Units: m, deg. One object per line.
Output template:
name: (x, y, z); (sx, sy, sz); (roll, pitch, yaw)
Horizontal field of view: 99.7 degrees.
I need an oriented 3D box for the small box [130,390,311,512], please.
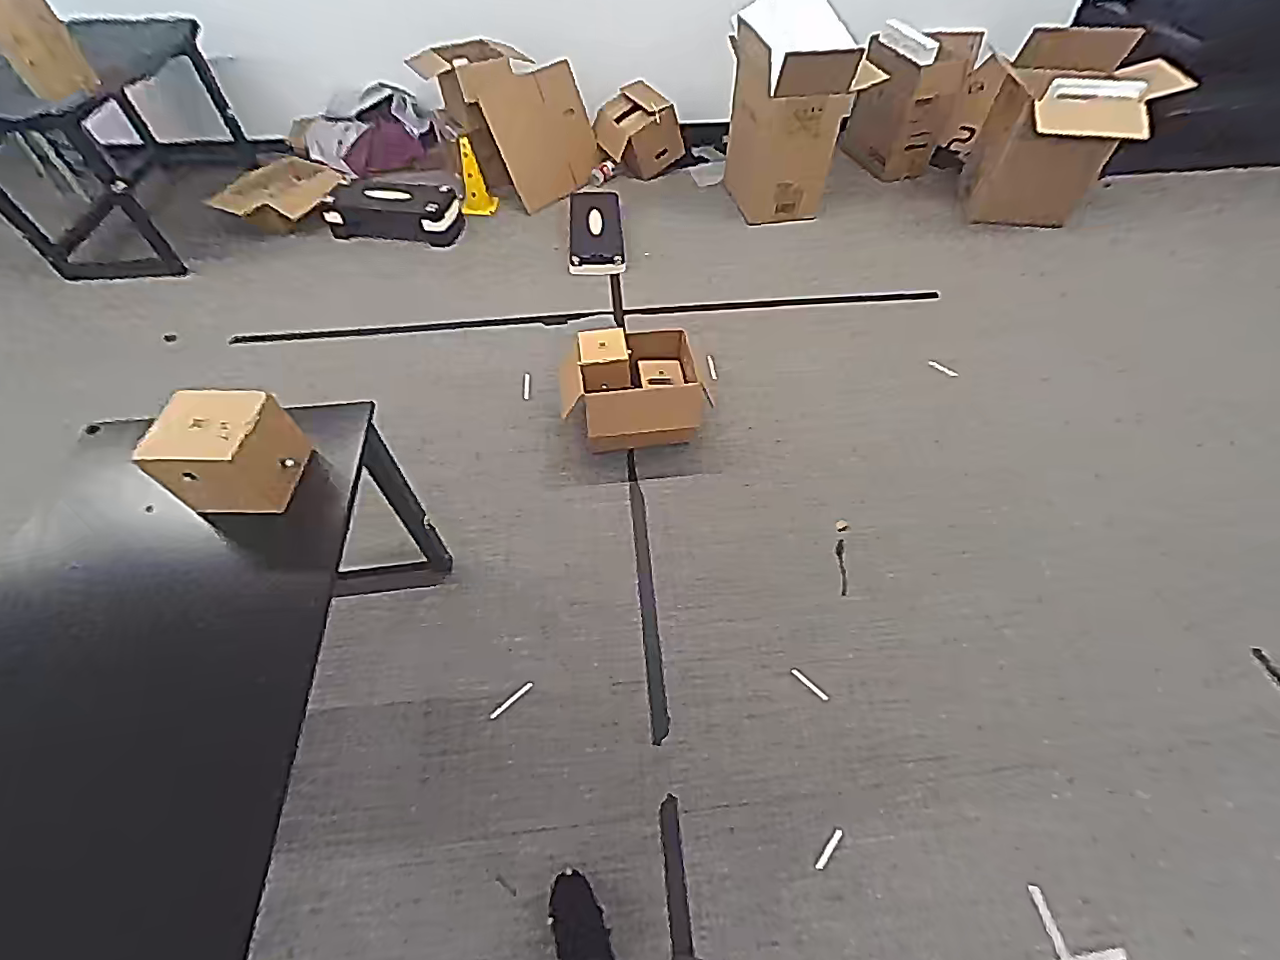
small box: (-0.768, -0.051, 1.016); (0.179, 0.176, 0.168); (1, 55, 1)
